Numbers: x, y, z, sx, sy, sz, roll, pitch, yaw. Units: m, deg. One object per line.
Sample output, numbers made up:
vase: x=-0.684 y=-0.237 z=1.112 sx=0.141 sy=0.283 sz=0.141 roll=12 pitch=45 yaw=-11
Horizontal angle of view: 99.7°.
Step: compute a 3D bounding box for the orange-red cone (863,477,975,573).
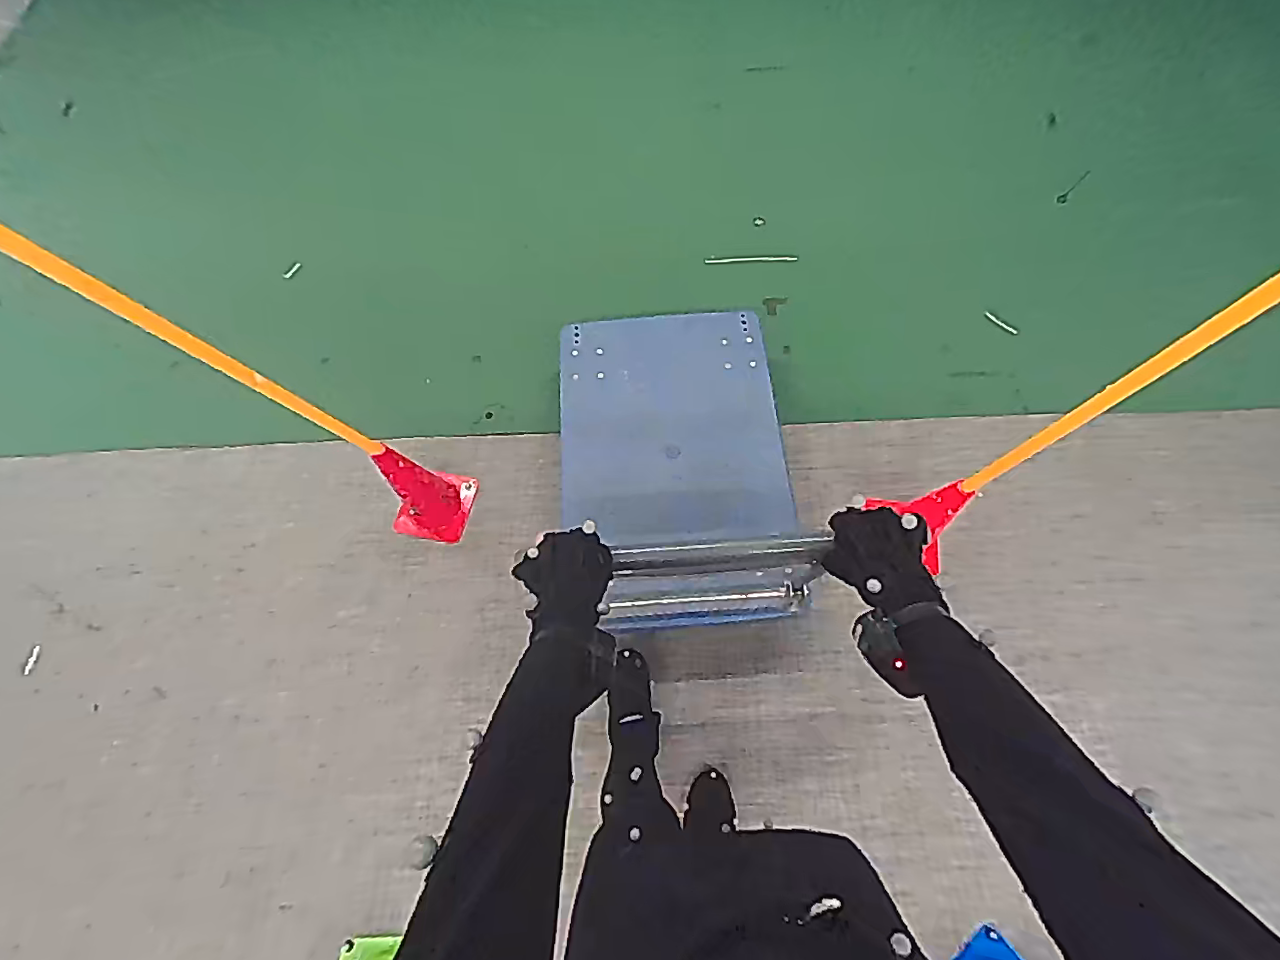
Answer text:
orange-red cone: x=0.697 y=0.078 z=1.299 sx=0.198 sy=0.360 sz=0.199 roll=8 pitch=69 yaw=6
